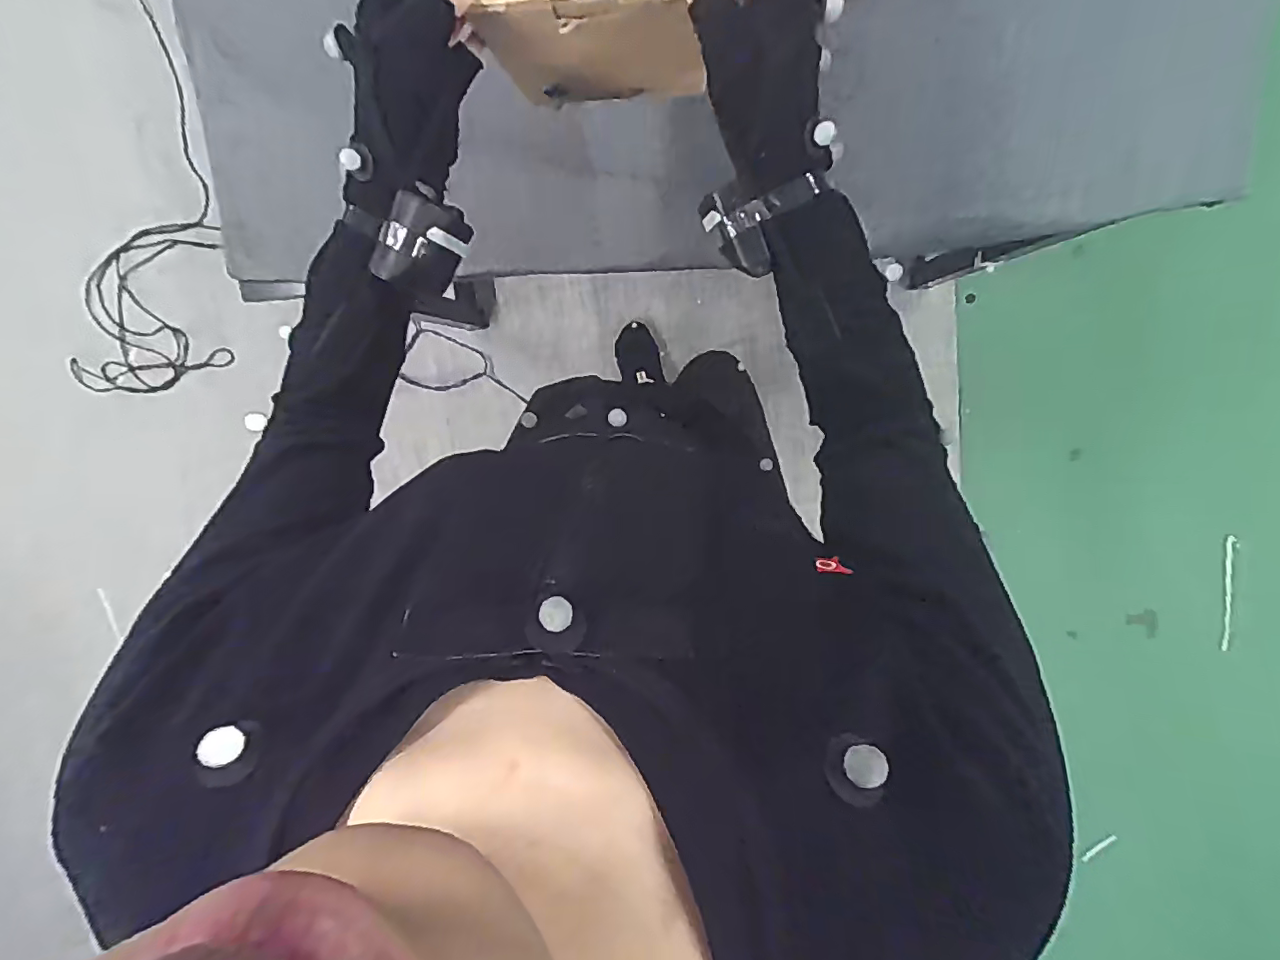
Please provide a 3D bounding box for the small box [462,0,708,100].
[{"bbox_3d":[-0.031,-0.411,0.404,0.168,0.176,0.179,0,106,5],"label":"small box"}]
